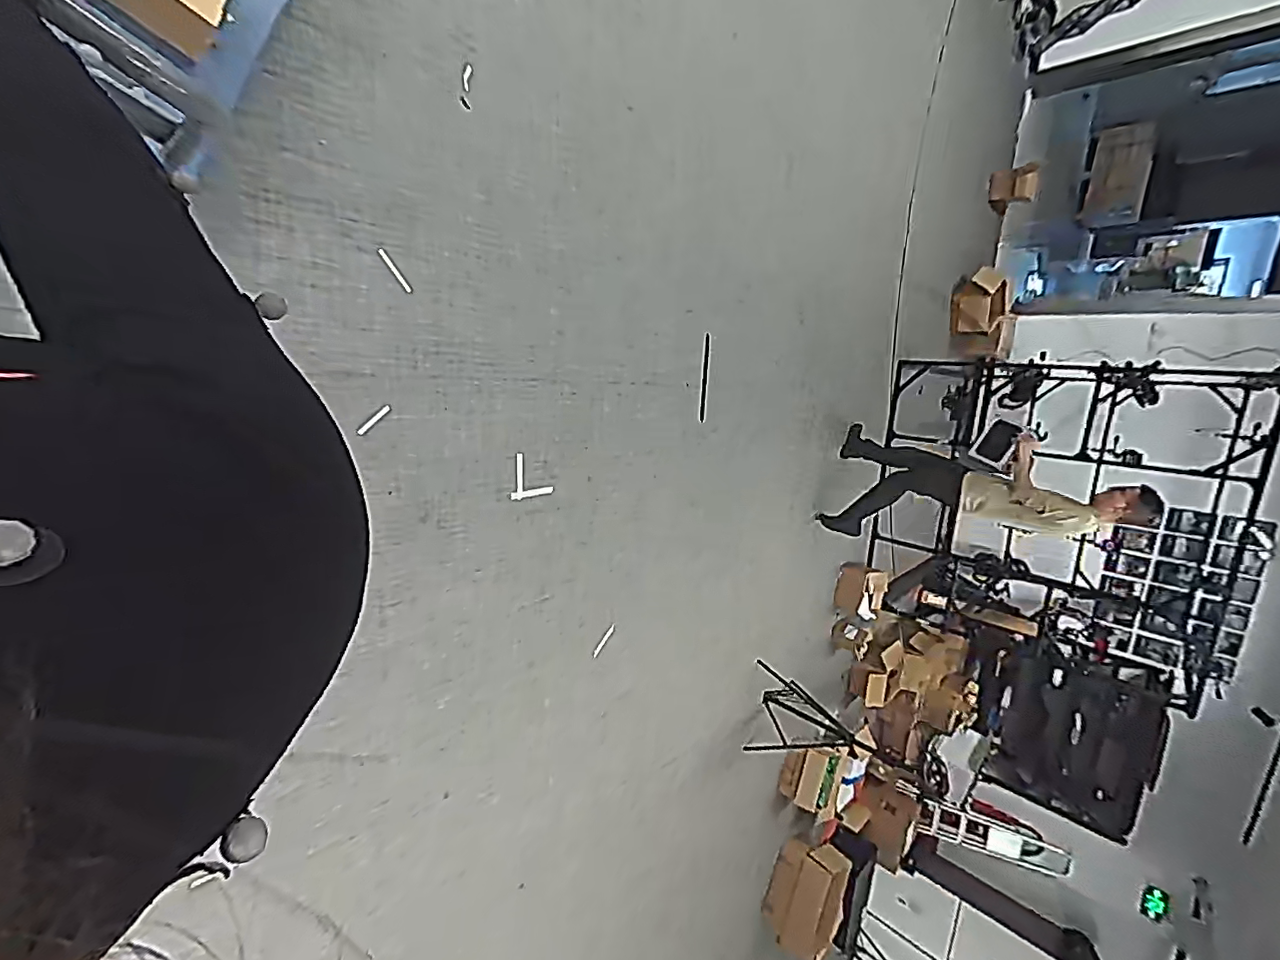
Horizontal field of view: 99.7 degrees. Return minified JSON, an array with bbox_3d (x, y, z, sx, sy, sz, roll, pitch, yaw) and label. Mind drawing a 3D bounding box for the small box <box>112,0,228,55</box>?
[{"bbox_3d":[-0.746,-0.819,0.838,0.179,0.176,0.168,25,83,-48],"label":"small box"}]
